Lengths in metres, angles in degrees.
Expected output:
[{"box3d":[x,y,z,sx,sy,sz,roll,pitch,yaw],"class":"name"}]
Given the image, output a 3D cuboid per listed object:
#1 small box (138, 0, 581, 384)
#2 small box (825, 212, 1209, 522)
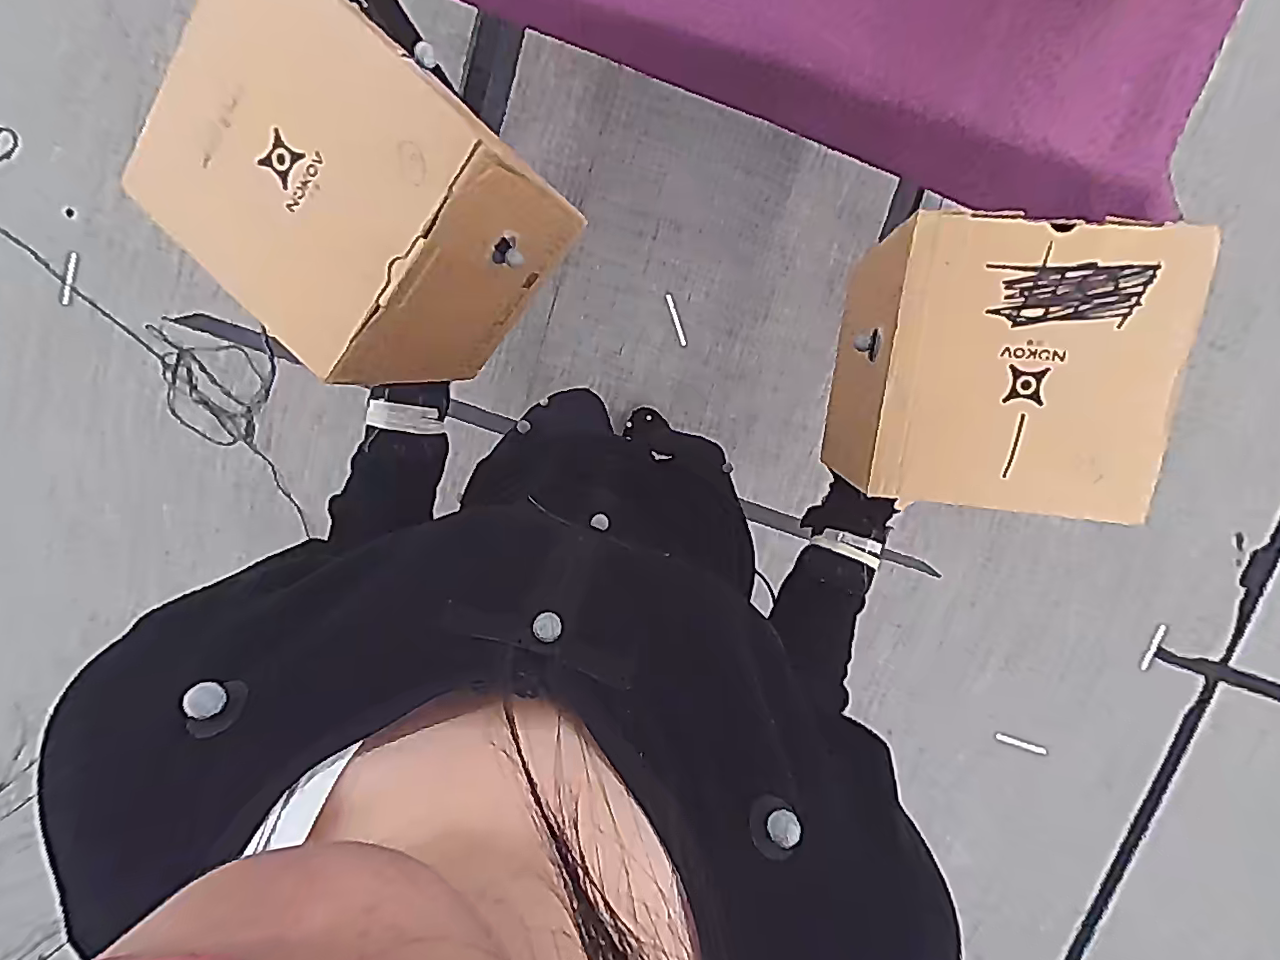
[{"box3d":[-0.169,-0.187,0.375,0.179,0.176,0.168,44,106,2],"class":"small box"},{"box3d":[0.249,-0.081,0.411,0.168,0.176,0.179,7,101,7],"class":"small box"}]
